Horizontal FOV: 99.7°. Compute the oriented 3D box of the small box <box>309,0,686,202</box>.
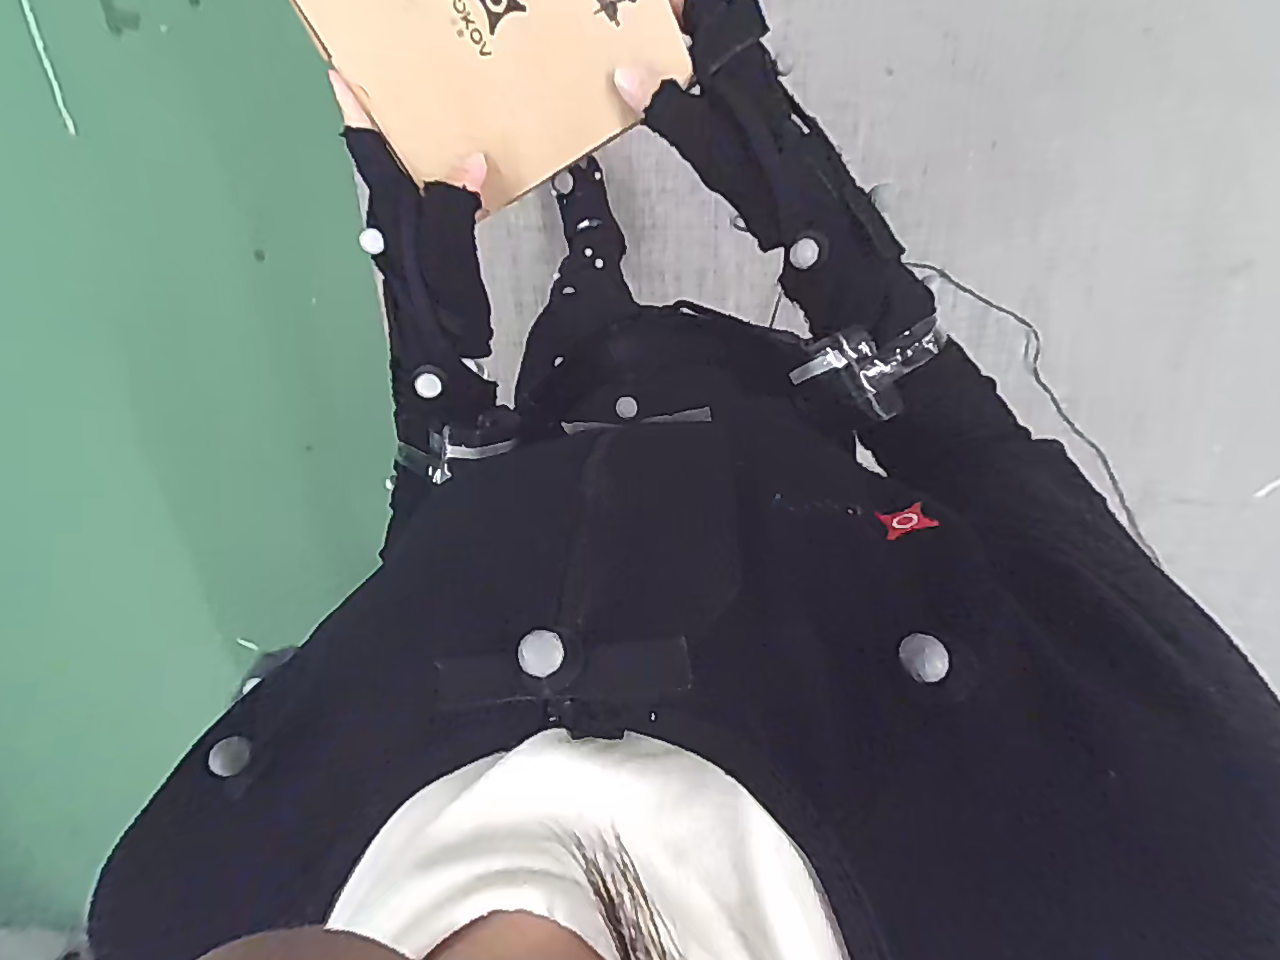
[{"bbox_3d":[-0.083,-0.309,0.351,0.179,0.176,0.168,-26,117,16],"label":"small box"}]
